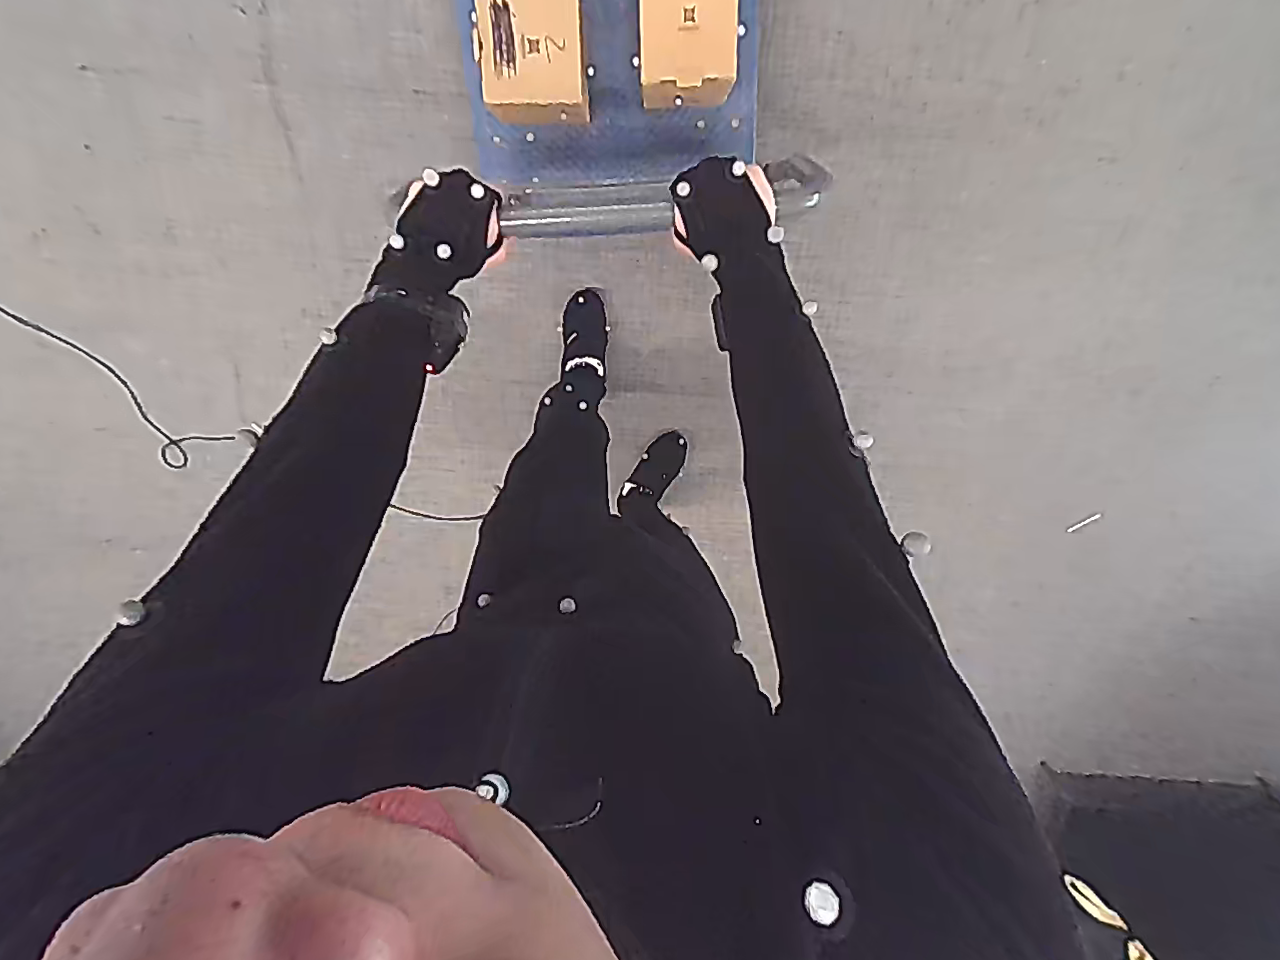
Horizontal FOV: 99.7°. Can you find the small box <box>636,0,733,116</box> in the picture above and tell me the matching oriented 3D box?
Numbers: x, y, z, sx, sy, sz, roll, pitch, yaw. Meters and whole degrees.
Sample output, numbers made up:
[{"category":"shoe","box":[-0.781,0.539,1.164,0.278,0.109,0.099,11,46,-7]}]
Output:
[{"category":"small box","box":[0.077,-0.800,1.000,0.168,0.176,0.179,-2,113,1]}]
